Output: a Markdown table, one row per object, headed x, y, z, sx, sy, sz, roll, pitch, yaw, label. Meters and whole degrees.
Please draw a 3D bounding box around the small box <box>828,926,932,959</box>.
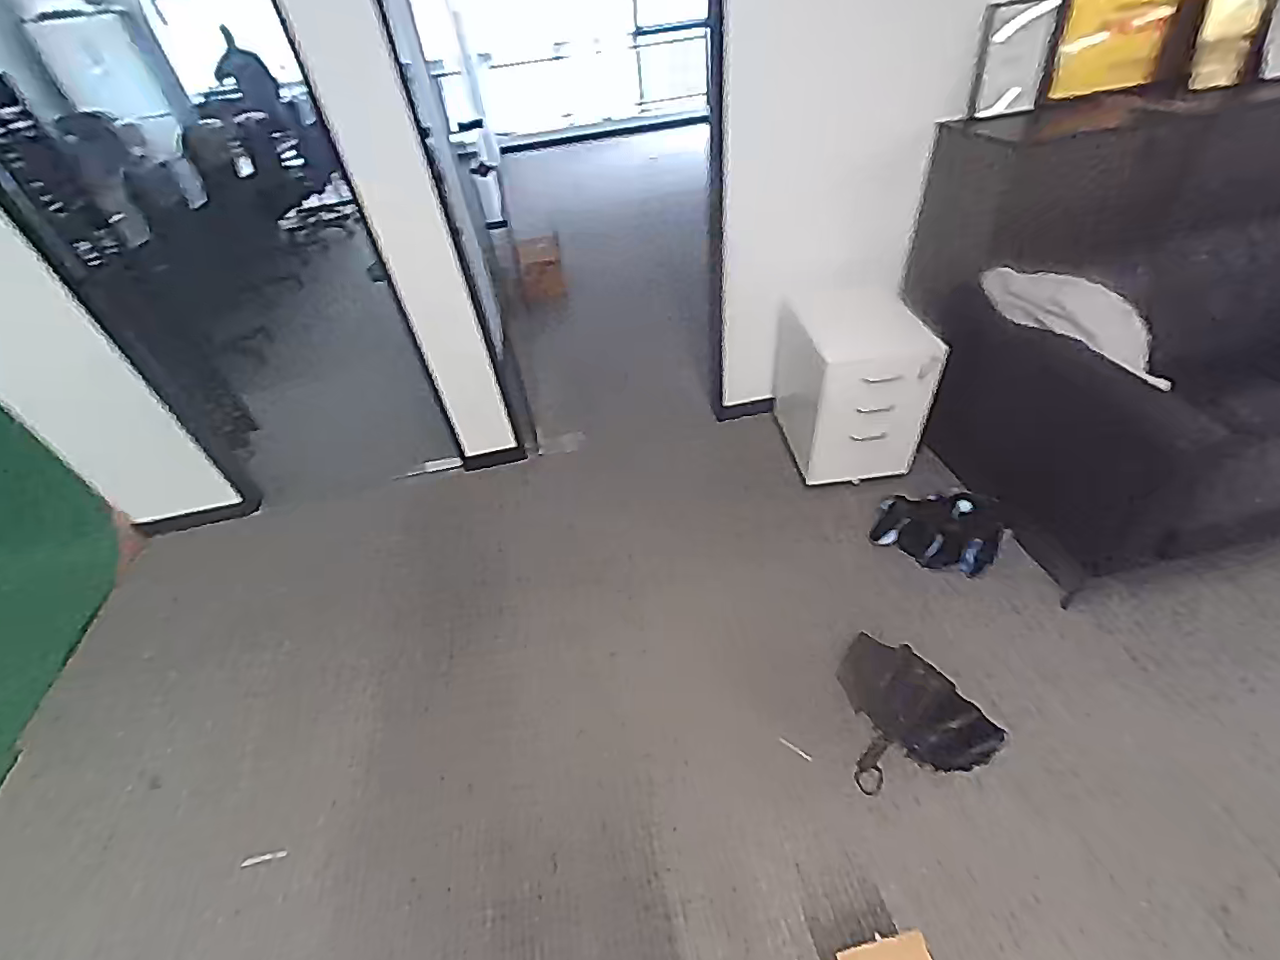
| x | y | z | sx | sy | sz | roll | pitch | yaw | label |
| --- | --- | --- | --- | --- | --- | --- | --- | --- | --- |
| 0.484 | 1.006 | 1.057 | 0.179 | 0.176 | 0.168 | -12 | 42 | -3 | small box |
